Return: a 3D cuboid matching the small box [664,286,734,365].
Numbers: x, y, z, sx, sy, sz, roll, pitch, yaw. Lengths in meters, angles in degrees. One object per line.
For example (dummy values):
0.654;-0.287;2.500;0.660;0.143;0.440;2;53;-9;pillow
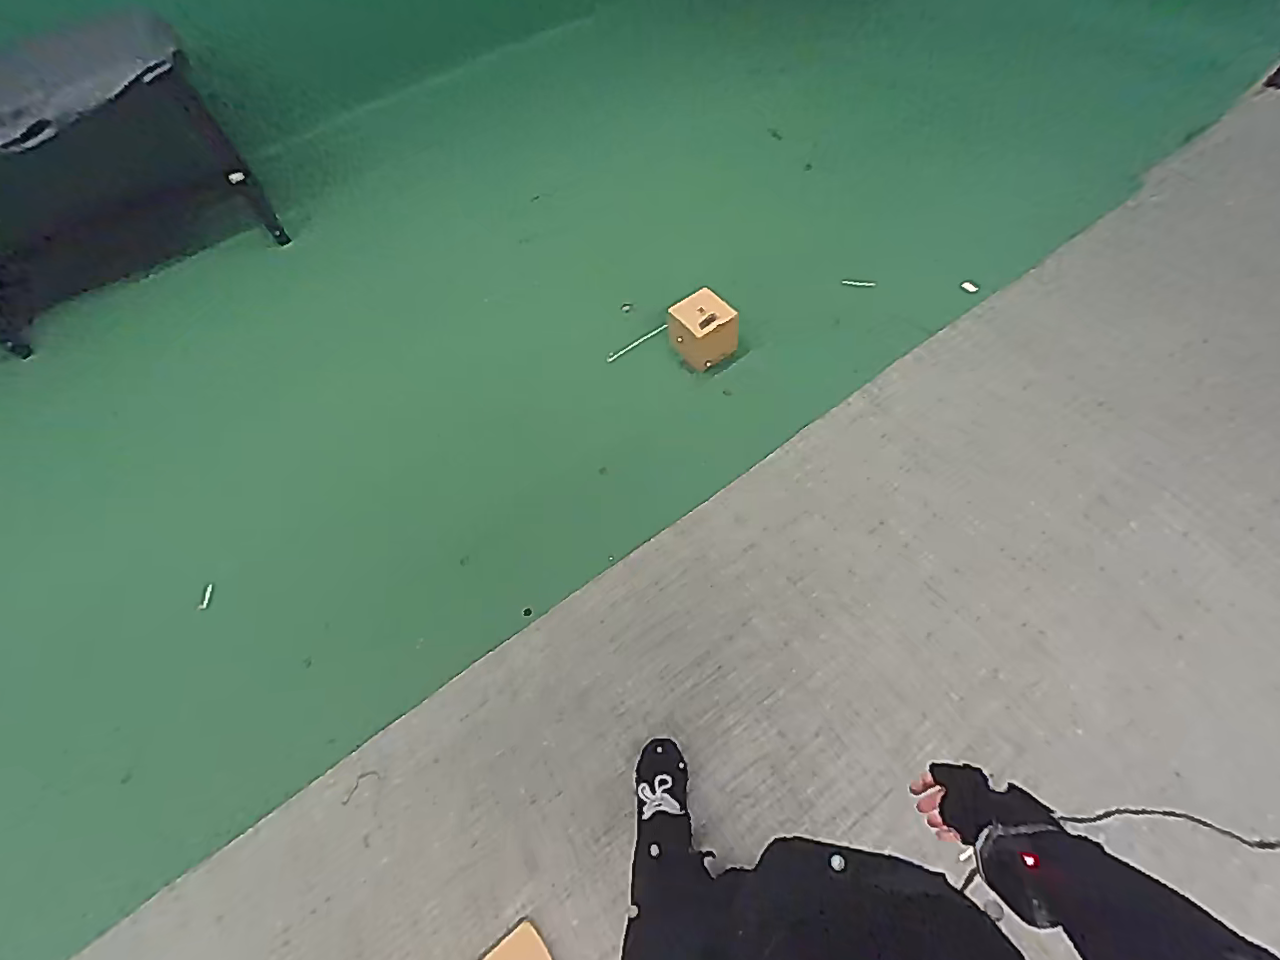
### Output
0.202;-0.518;1.844;0.168;0.176;0.179;-34;61;-12;small box
